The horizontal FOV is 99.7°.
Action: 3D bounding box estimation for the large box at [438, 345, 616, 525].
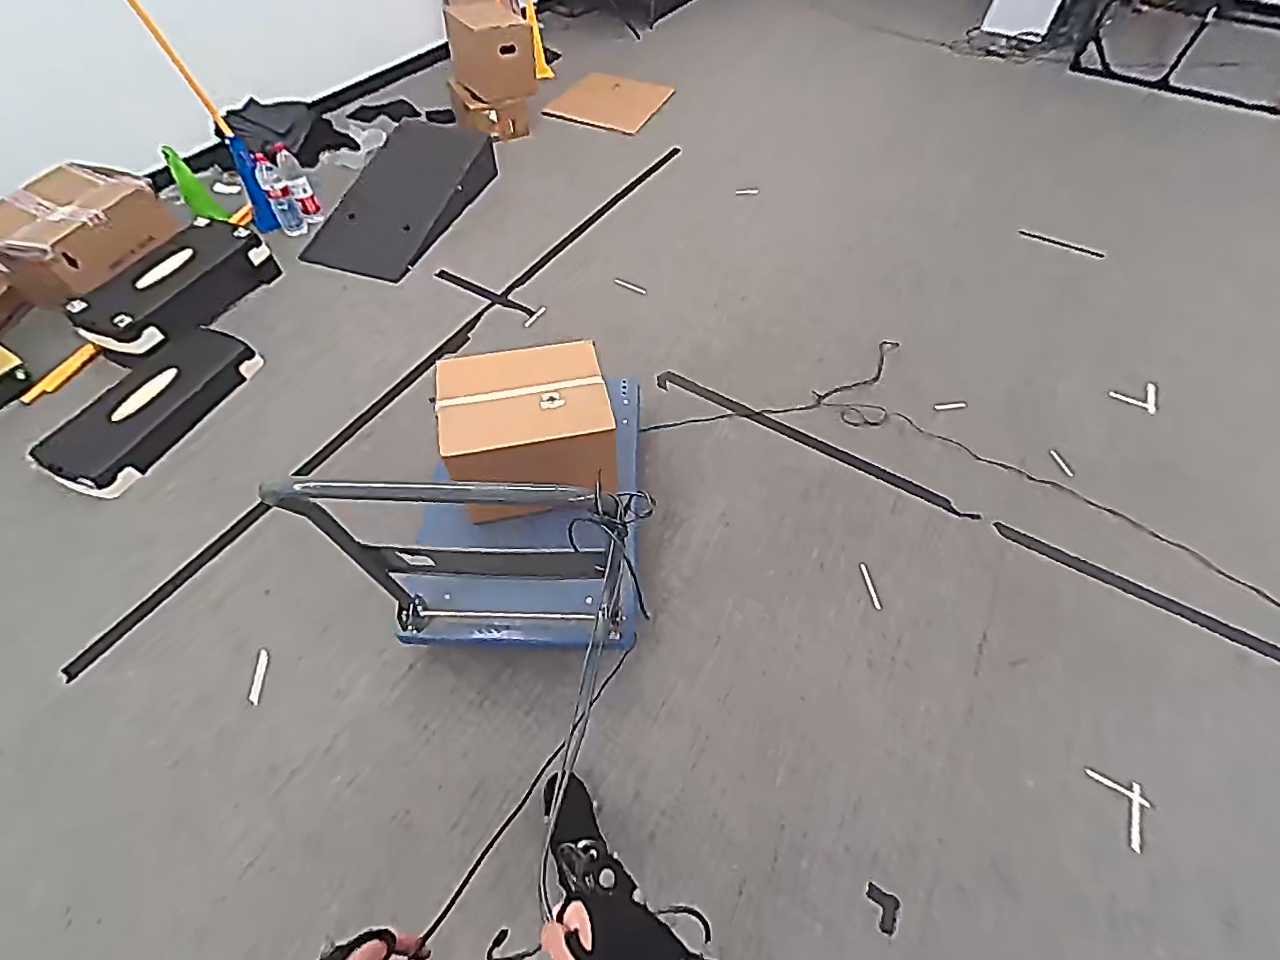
[{"bbox_3d":[-0.290,-0.117,1.436,0.408,0.320,0.320,-10,57,-9],"label":"large box"}]
